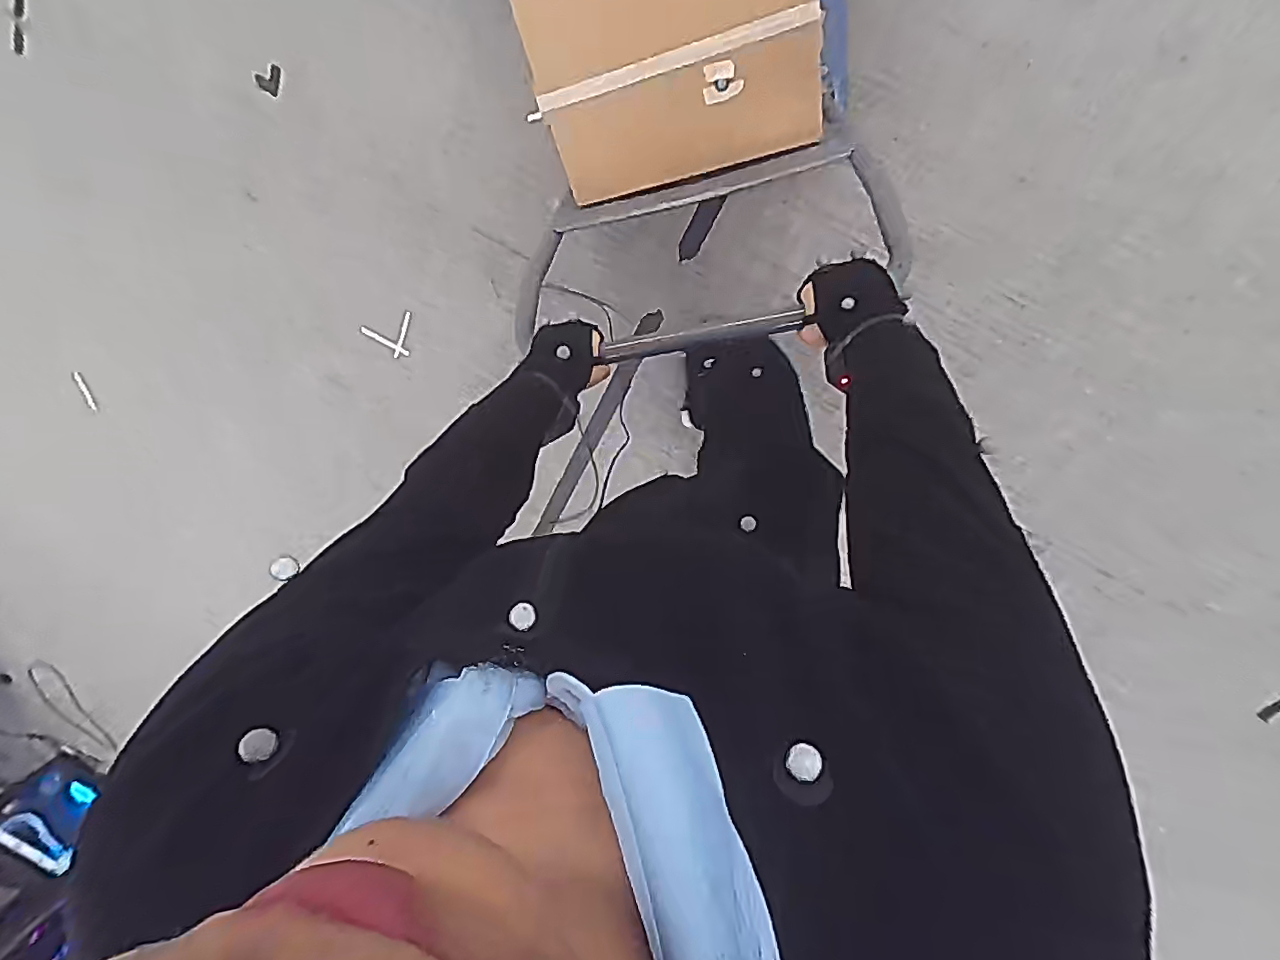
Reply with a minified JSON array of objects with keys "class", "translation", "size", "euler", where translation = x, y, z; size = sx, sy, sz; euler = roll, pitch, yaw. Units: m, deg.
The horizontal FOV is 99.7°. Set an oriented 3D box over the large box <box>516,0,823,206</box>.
[{"class":"large box","translation":[0.063,-0.712,0.900],"size":[0.408,0.320,0.320],"euler":[-9,131,14]}]
